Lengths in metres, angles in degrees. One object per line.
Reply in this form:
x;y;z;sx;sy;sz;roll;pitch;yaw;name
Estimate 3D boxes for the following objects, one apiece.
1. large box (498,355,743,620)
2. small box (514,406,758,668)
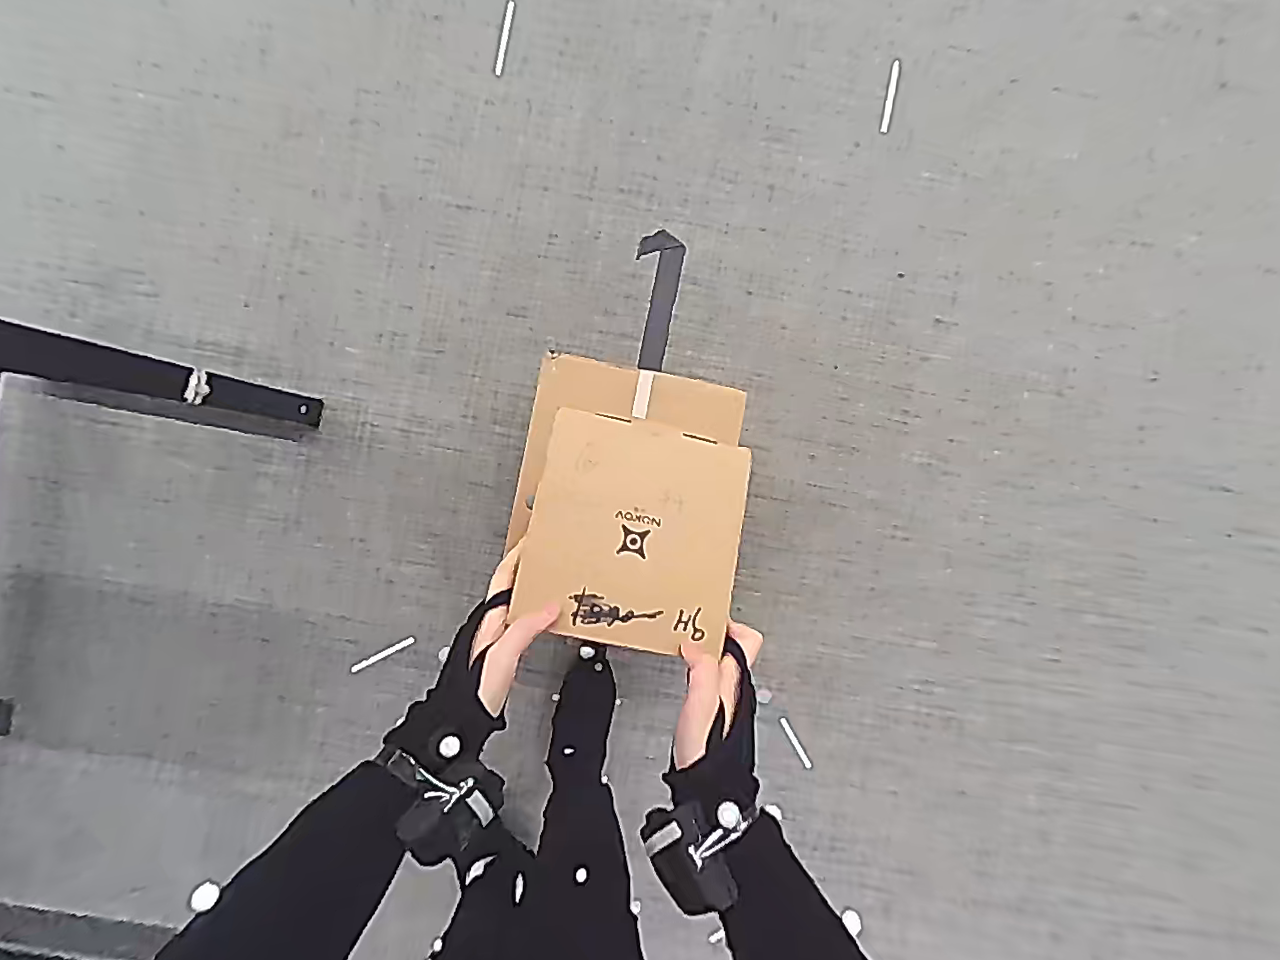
-0.032;0.039;0.954;0.320;0.320;0.408;11;88;-3;large box
-0.009;0.057;0.496;0.168;0.176;0.179;13;77;-5;small box
